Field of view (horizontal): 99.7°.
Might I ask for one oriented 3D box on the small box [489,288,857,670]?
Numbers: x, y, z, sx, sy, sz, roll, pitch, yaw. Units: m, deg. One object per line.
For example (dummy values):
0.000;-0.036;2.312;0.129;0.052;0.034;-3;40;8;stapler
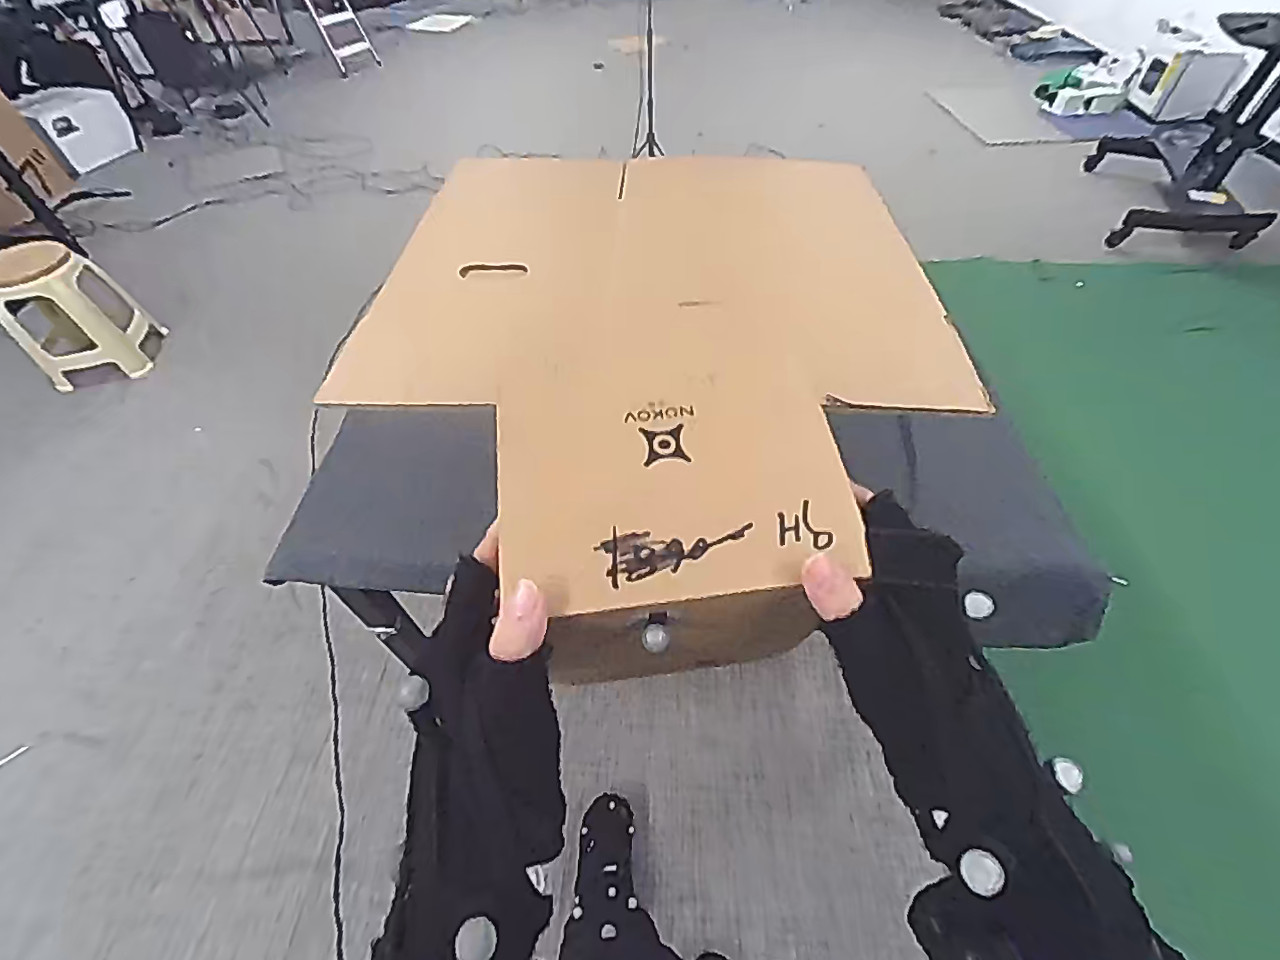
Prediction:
0.006;0.008;0.346;0.168;0.176;0.179;-7;61;-4;small box
